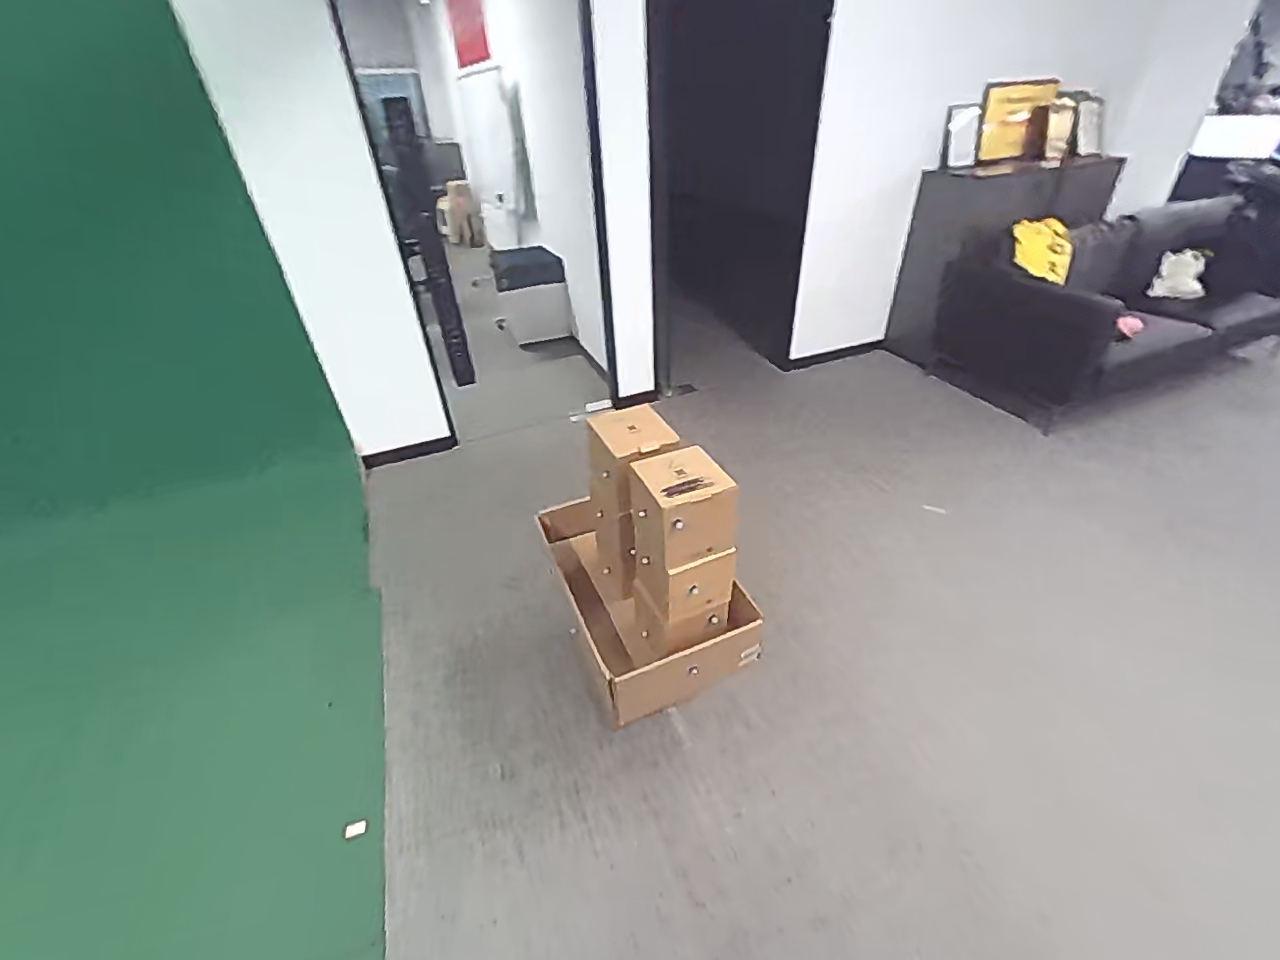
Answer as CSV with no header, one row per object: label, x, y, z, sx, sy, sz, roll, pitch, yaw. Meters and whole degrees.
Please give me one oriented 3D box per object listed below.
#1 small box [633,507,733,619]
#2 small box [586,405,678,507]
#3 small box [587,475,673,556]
small box,0.096,0.195,1.242,0.168,0.176,0.179,-17,39,-19
small box,-0.019,-0.053,1.309,0.168,0.176,0.179,-17,42,-20
small box,-0.025,0.076,1.409,0.168,0.176,0.179,-19,42,-22
